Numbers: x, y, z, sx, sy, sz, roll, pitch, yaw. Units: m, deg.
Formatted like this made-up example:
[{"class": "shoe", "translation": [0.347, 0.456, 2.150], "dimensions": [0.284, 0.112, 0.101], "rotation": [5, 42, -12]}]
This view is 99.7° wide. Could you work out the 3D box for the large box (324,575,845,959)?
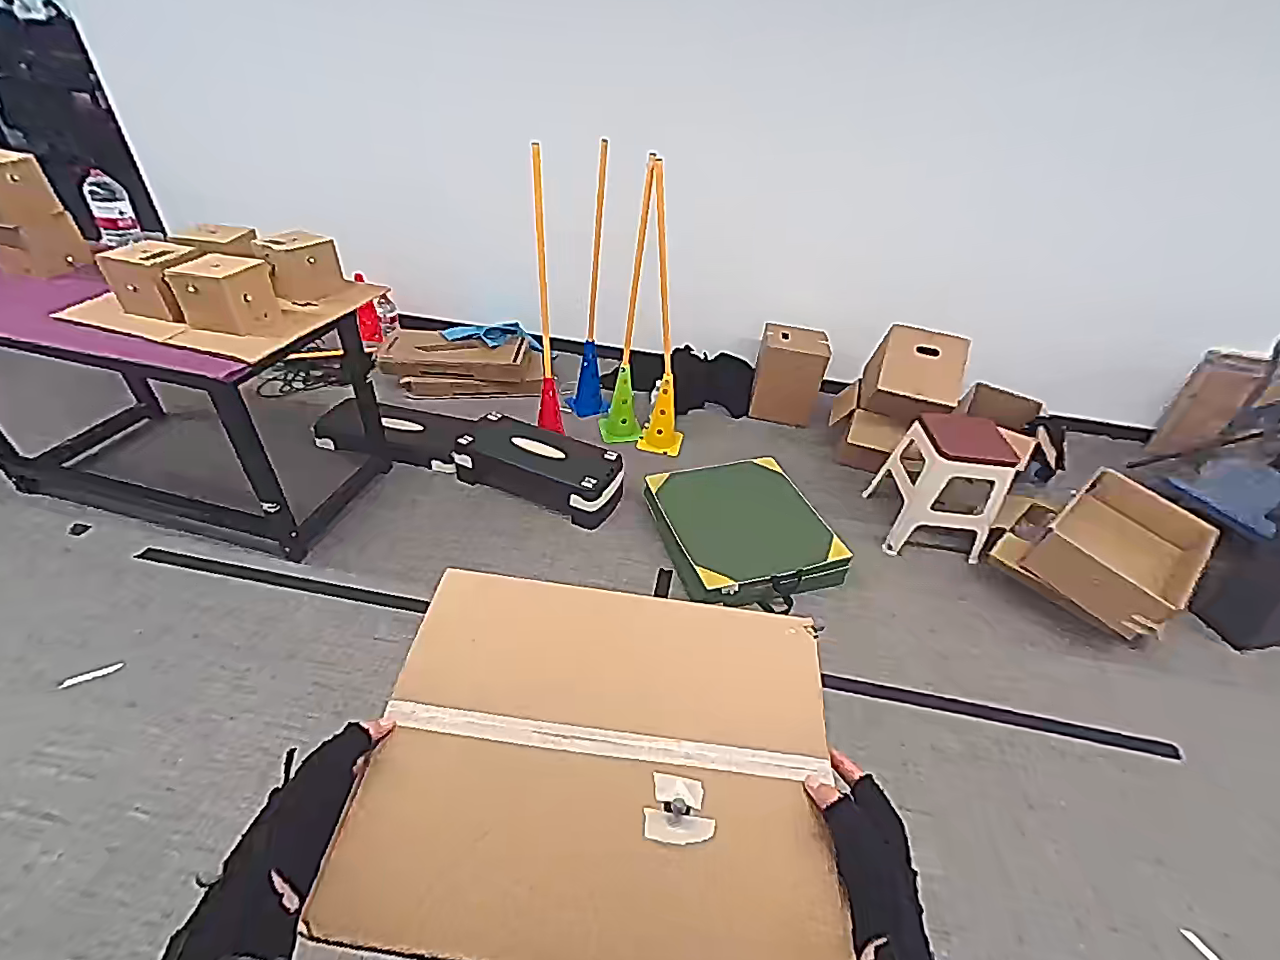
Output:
[{"class": "large box", "translation": [-0.042, 0.341, 0.610], "dimensions": [0.408, 0.320, 0.320], "rotation": [8, 48, 1]}]
